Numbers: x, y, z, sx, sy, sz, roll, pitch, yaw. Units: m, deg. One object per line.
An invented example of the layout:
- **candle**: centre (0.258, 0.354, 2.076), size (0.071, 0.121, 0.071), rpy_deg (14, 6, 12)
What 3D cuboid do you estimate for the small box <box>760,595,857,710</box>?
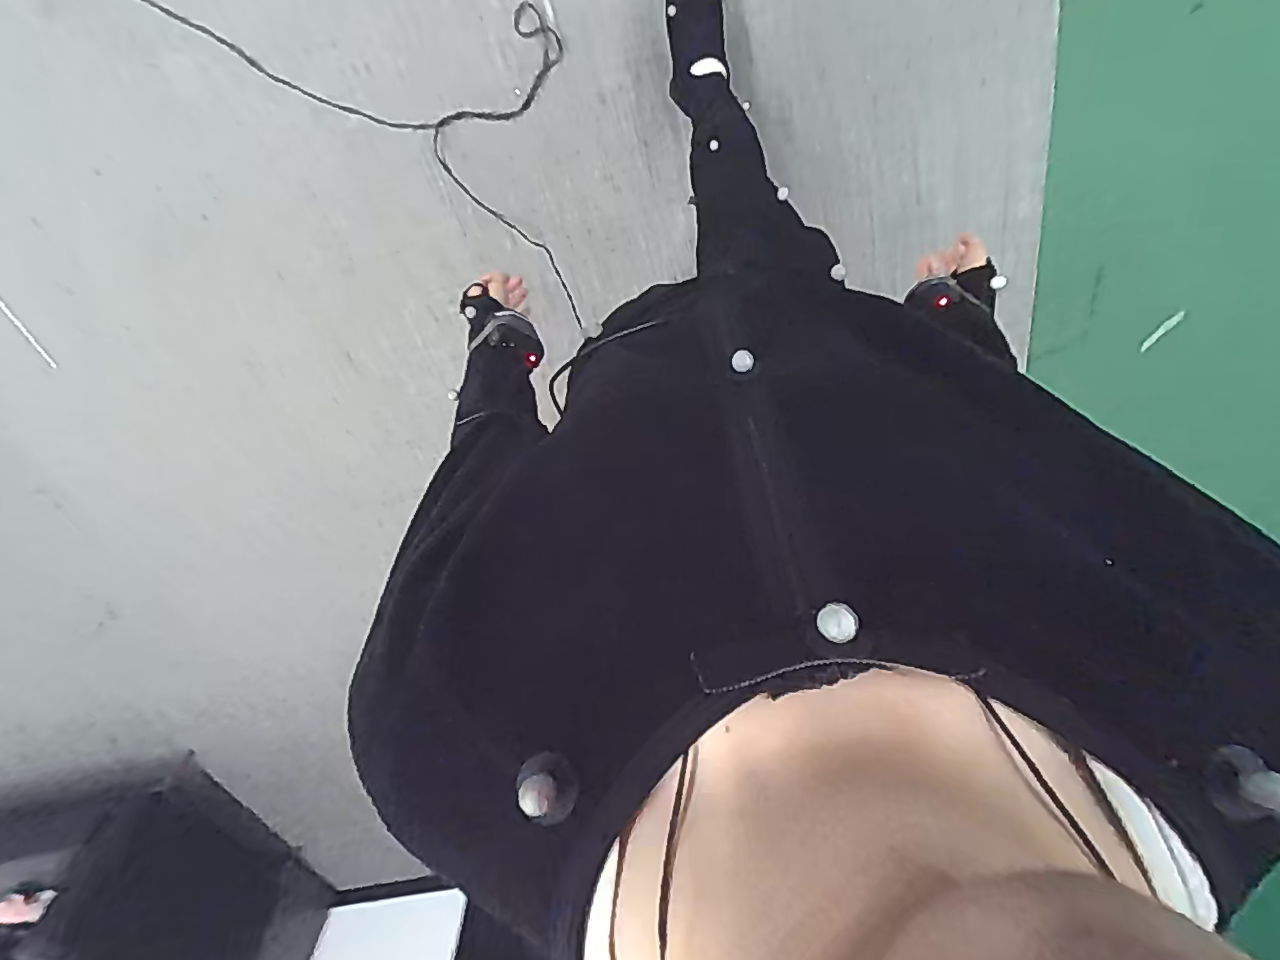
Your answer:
- **small box**: centre (0.394, 0.404, 1.277), size (0.168, 0.176, 0.179), rpy_deg (-16, 119, 6)
